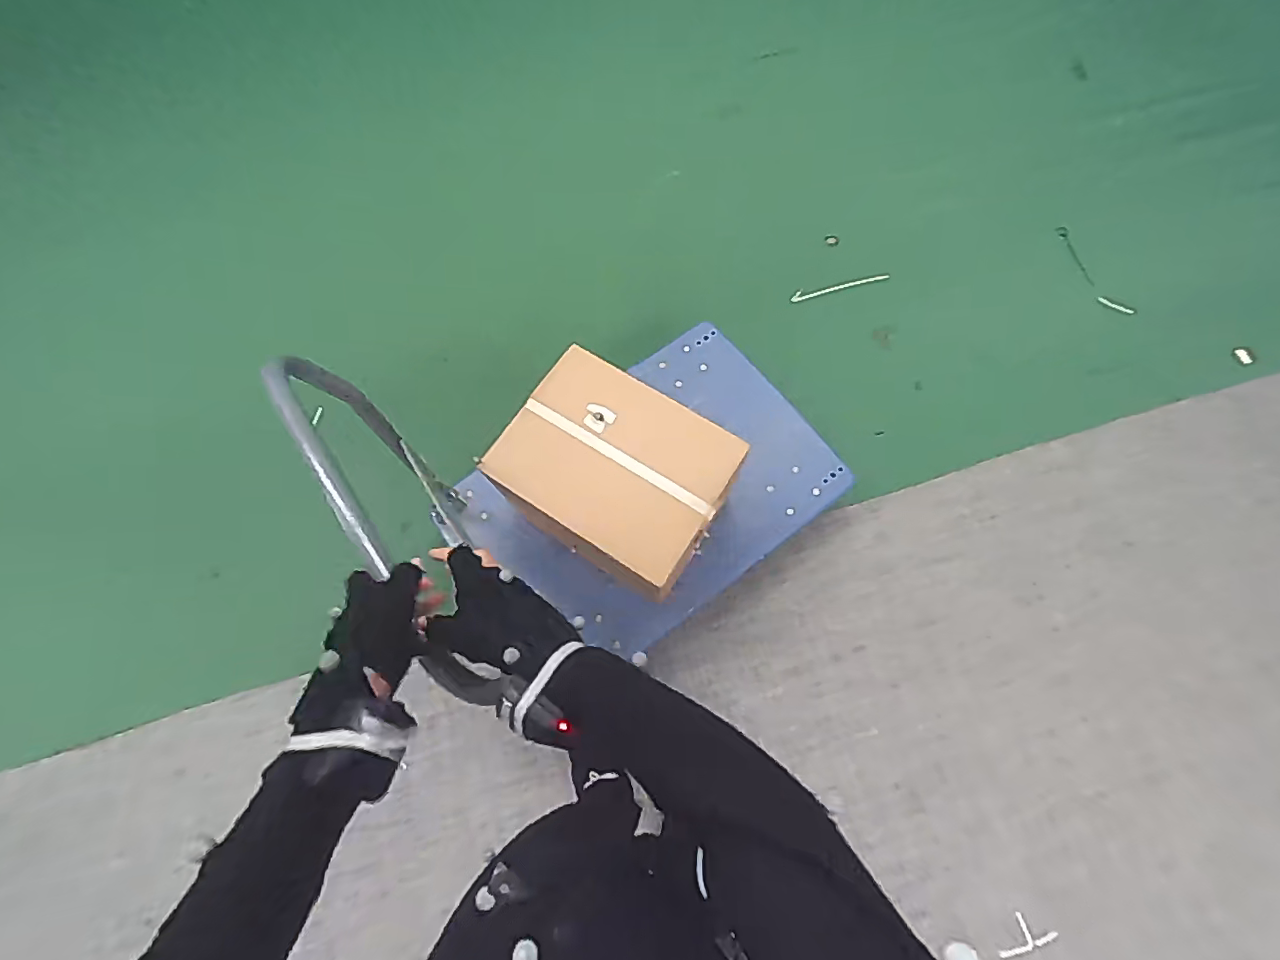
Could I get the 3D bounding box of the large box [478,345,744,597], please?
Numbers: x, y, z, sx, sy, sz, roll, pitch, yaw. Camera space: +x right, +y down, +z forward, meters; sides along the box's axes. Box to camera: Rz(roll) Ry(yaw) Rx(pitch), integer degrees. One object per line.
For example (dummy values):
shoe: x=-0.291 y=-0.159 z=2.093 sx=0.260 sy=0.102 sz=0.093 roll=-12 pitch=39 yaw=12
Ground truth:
large box: x=-0.046 y=-0.001 z=1.133 sx=0.408 sy=0.320 sz=0.320 roll=32 pitch=74 yaw=12
